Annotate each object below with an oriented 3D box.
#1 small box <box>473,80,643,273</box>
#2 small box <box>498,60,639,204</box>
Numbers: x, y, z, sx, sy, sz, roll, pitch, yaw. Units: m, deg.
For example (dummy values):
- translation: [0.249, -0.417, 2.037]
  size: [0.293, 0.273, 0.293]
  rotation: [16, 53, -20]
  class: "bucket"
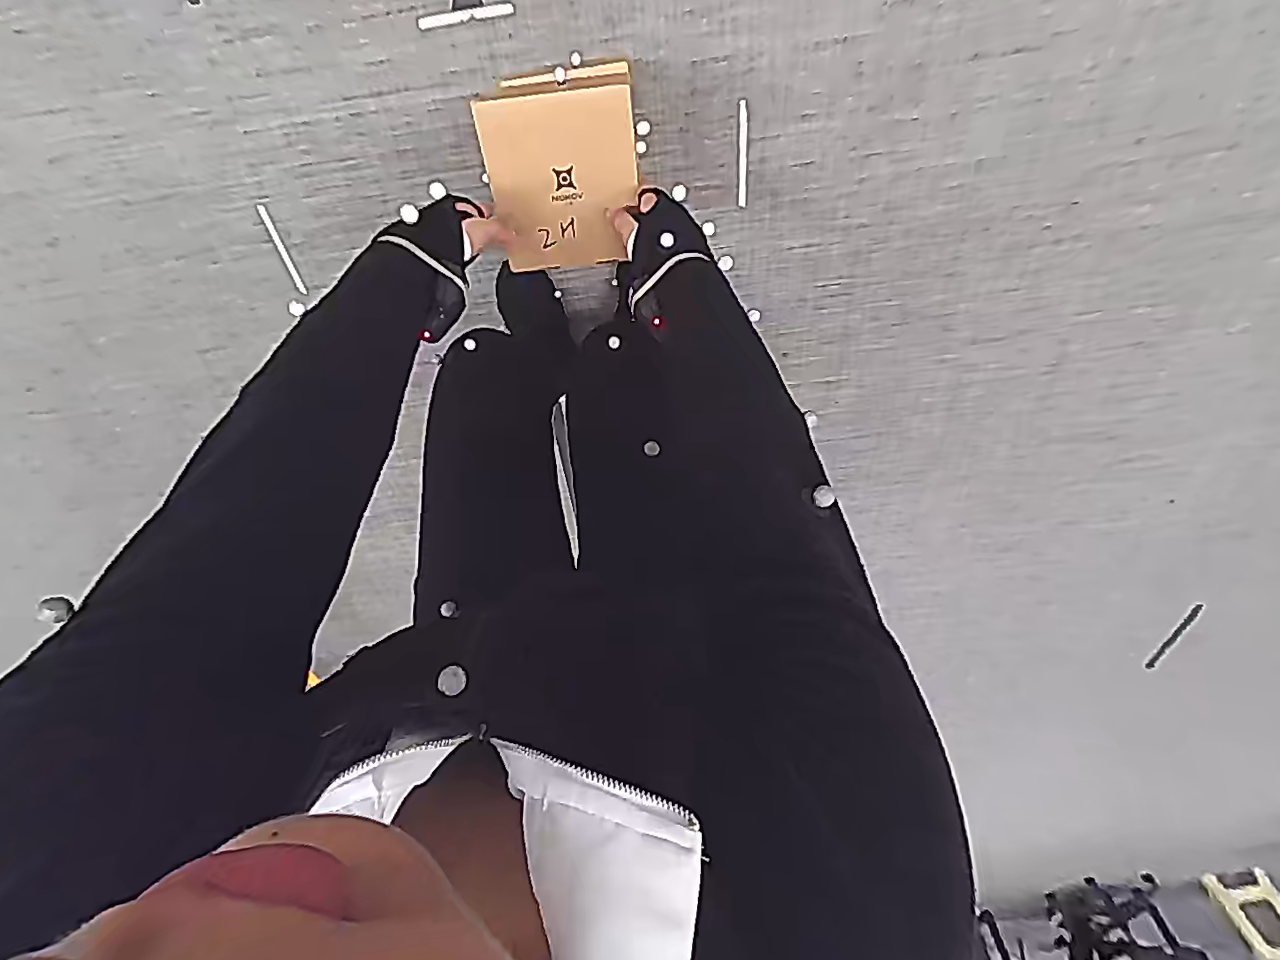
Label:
- translation: [-0.088, -0.376, 0.664]
  size: [0.168, 0.176, 0.179]
  rotation: [-5, 130, 2]
  class: "small box"
- translation: [-0.090, -0.488, 0.787]
  size: [0.168, 0.176, 0.179]
  rotation: [-6, 130, 3]
  class: "small box"
